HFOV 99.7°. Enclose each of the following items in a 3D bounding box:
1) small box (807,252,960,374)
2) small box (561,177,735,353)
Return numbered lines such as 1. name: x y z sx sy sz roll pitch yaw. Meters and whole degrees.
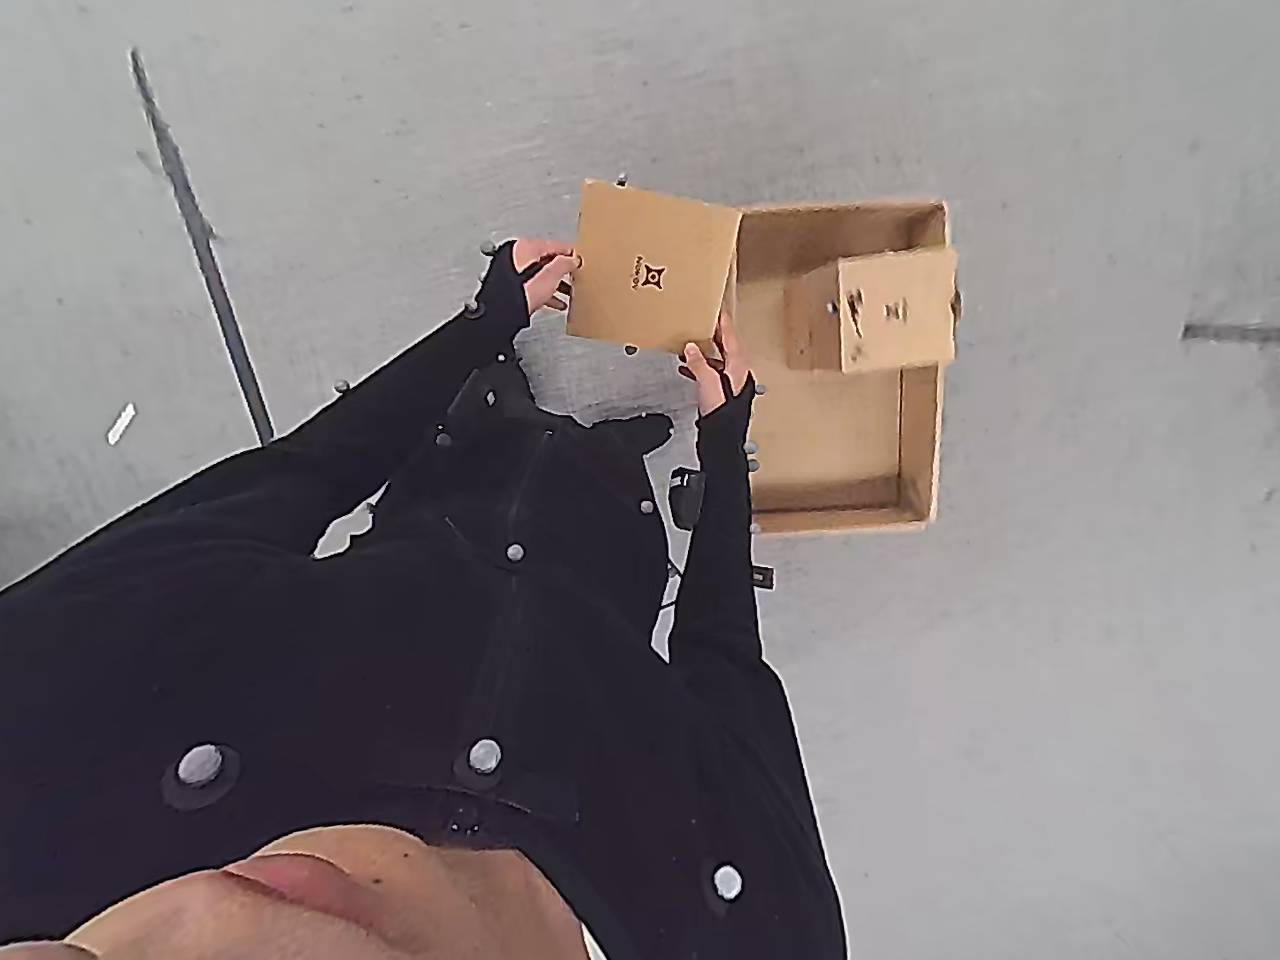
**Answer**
1. small box: 0.388 -0.268 0.886 0.179 0.176 0.168 -6 103 1
2. small box: 0.007 -0.269 0.673 0.179 0.176 0.168 9 116 -1
